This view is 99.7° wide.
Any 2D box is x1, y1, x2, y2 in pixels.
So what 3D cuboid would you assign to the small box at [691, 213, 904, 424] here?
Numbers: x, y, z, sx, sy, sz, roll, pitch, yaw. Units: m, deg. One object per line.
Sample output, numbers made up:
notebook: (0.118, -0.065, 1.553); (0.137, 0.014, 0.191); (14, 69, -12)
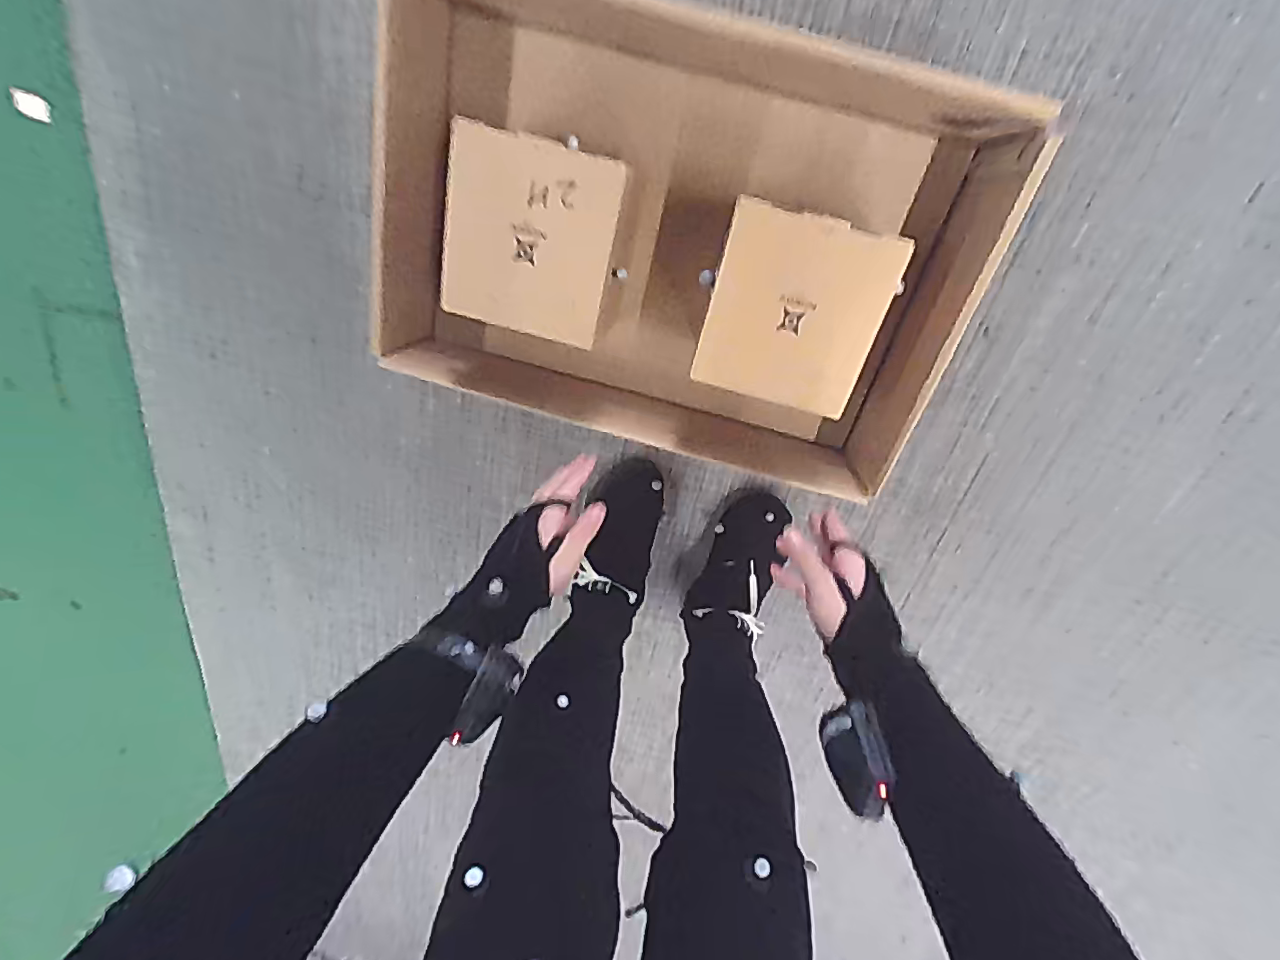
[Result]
small box: (0.164, -0.189, 0.615); (0.168, 0.176, 0.179); (15, 116, 1)
